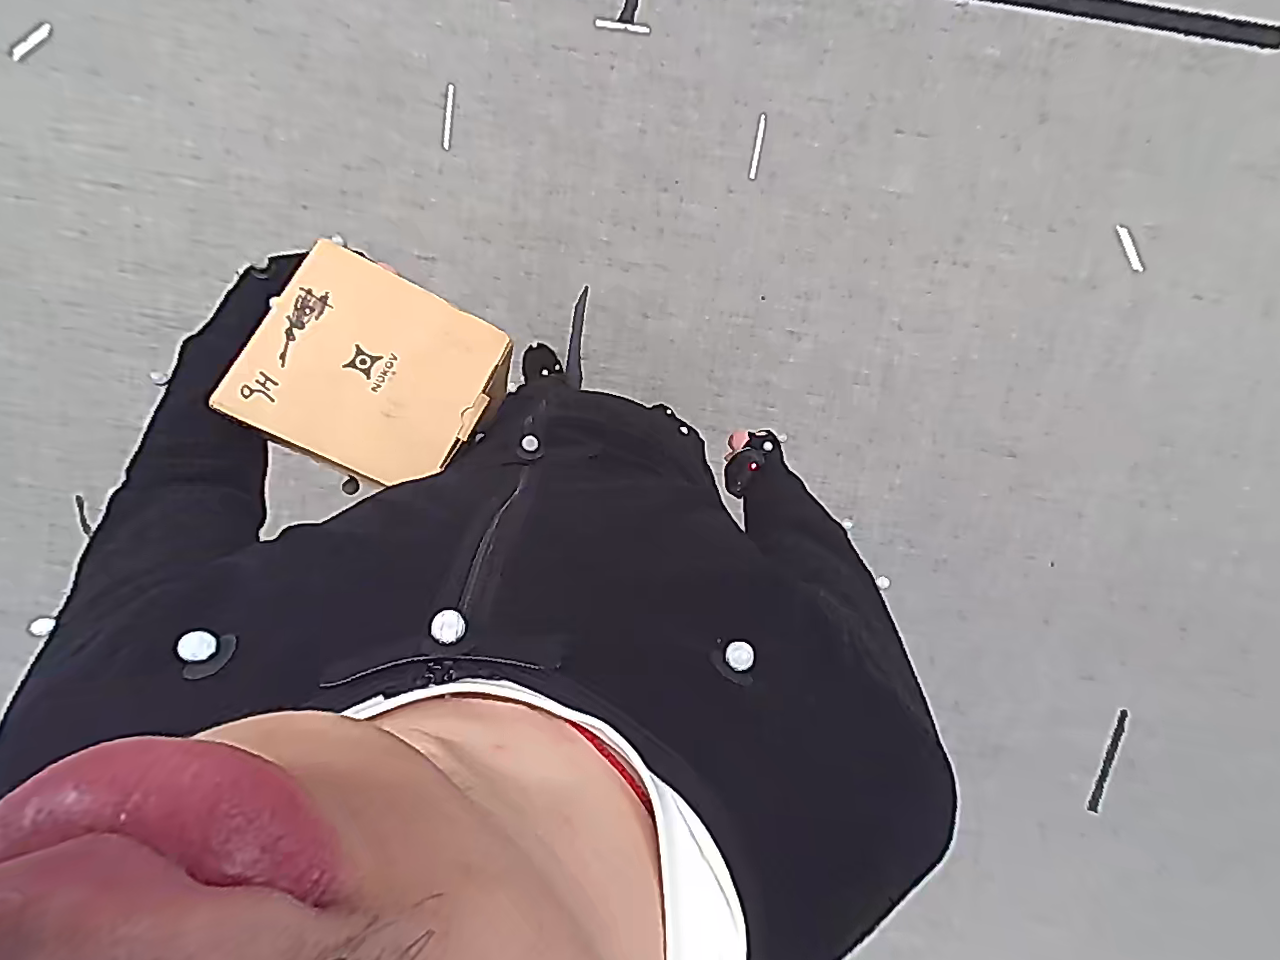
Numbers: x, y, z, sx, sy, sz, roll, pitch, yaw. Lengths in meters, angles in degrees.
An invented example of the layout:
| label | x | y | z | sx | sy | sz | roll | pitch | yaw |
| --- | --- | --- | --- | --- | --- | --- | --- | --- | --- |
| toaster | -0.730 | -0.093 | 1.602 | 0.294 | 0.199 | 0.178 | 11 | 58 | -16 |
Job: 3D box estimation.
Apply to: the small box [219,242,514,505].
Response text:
| label | x | y | z | sx | sy | sz | roll | pitch | yaw |
| --- | --- | --- | --- | --- | --- | --- | --- | --- | --- |
| small box | -0.243 | -0.084 | 0.529 | 0.179 | 0.176 | 0.168 | 26 | 75 | -12 |
